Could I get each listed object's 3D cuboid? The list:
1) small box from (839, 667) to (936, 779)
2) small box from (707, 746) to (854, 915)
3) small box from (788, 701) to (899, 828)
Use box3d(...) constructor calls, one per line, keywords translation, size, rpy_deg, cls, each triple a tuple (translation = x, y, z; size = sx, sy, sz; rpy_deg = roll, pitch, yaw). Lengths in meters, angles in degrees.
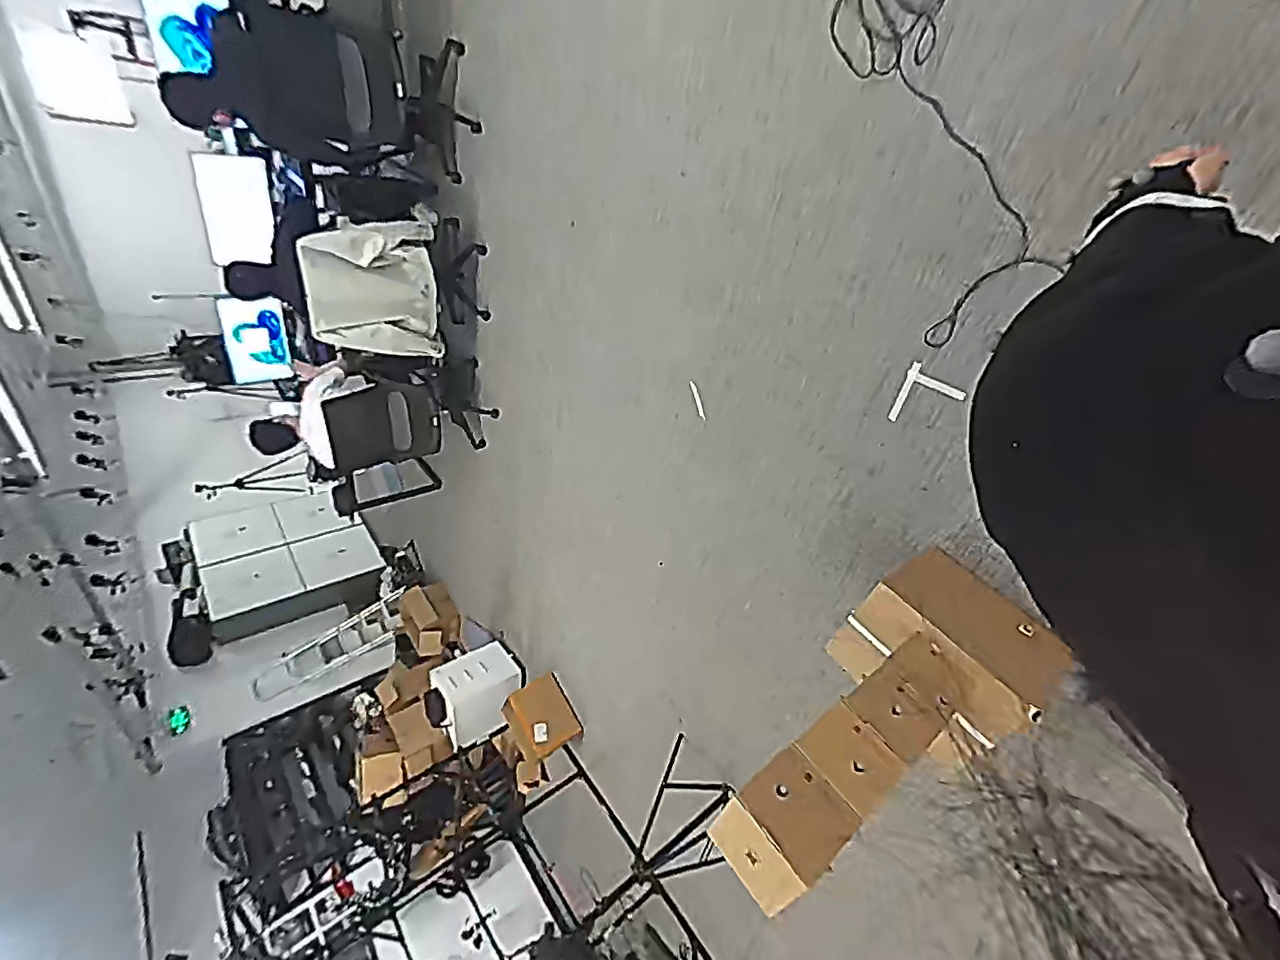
box3d(translation=(0.502, 0.540, 1.168), size=(0.168, 0.176, 0.179), rpy_deg=(46, 135, 31), cls="small box")
box3d(translation=(0.254, 0.622, 0.975), size=(0.168, 0.176, 0.179), rpy_deg=(44, 137, 33), cls="small box")
box3d(translation=(0.378, 0.577, 1.070), size=(0.168, 0.176, 0.179), rpy_deg=(44, 135, 32), cls="small box")
